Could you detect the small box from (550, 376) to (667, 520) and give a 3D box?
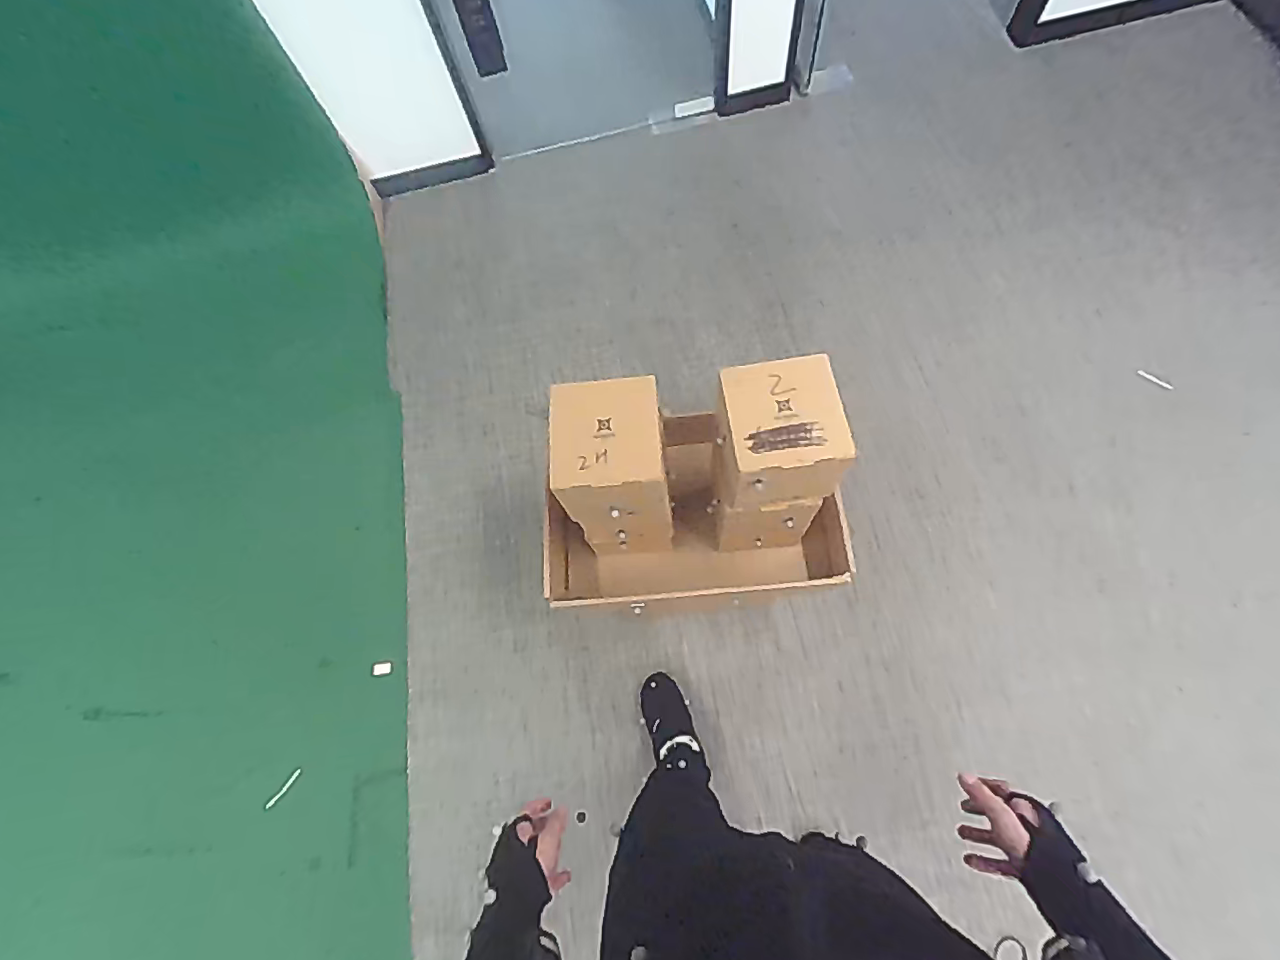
[{"bbox_3d":[-0.044,-0.045,0.869,0.168,0.176,0.179,-4,69,4],"label":"small box"}]

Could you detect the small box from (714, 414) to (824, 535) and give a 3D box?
[{"bbox_3d":[0.228,-0.002,0.998,0.168,0.176,0.179,-4,68,3],"label":"small box"}]

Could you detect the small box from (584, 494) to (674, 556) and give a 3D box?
[{"bbox_3d":[-0.020,0.065,1.177,0.179,0.176,0.168,-4,68,4],"label":"small box"}]

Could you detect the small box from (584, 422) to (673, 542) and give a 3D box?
[{"bbox_3d":[-0.026,0.008,1.024,0.168,0.176,0.179,-4,69,4],"label":"small box"}]
